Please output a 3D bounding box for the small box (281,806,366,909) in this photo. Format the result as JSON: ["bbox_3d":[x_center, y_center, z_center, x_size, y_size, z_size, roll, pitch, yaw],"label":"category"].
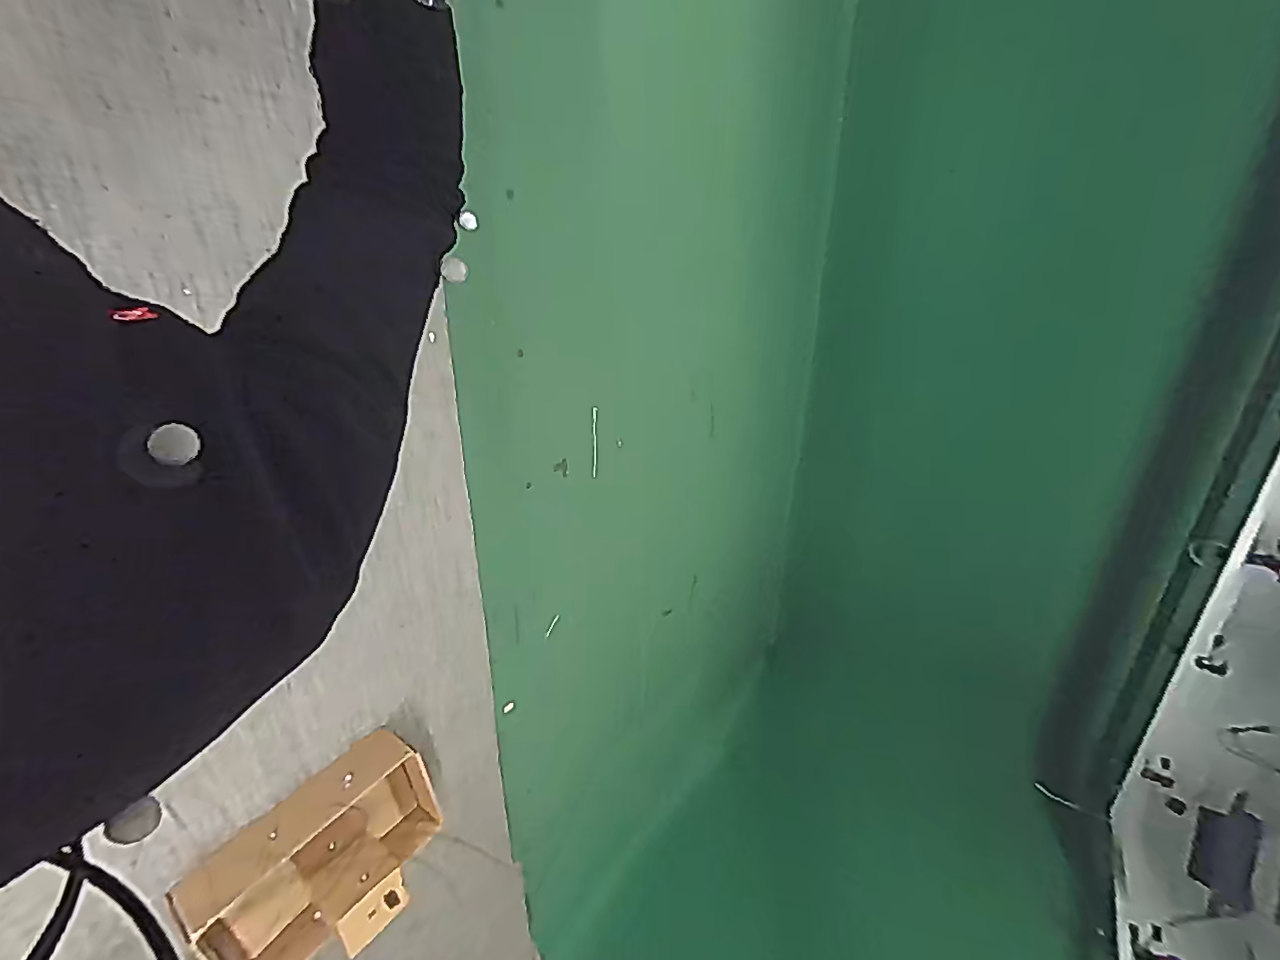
[{"bbox_3d":[-0.917,1.119,1.599,0.179,0.176,0.168,-31,127,-44],"label":"small box"}]

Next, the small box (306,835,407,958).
[{"bbox_3d":[-0.786,1.145,1.501,0.179,0.176,0.168,-29,125,-46],"label":"small box"}]
